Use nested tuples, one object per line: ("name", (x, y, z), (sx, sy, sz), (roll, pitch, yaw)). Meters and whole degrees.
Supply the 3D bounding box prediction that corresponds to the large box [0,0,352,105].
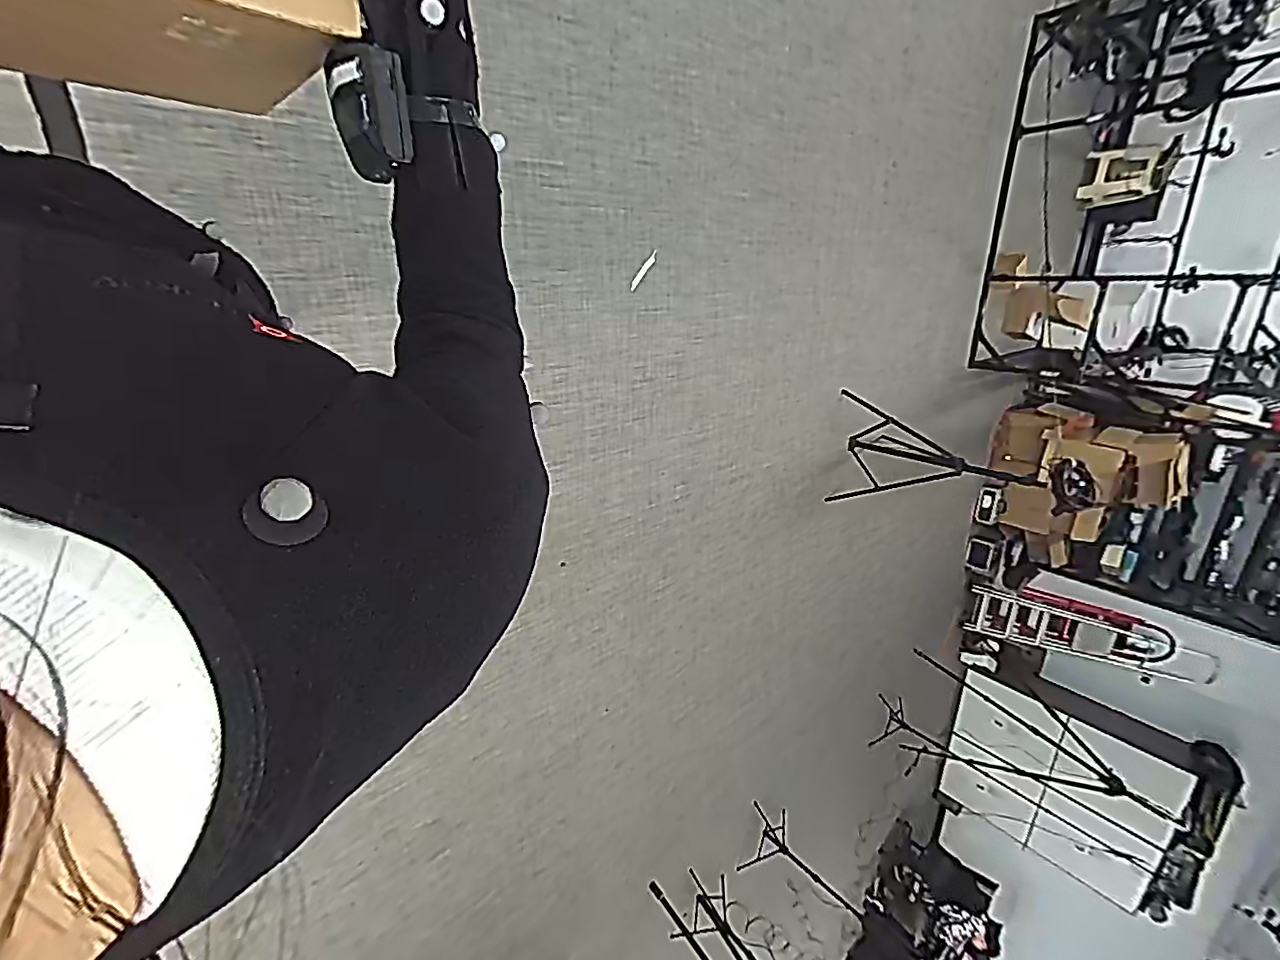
("large box", (-0.414, -0.409, 0.244), (0.408, 0.320, 0.320), (-17, 120, -39))
